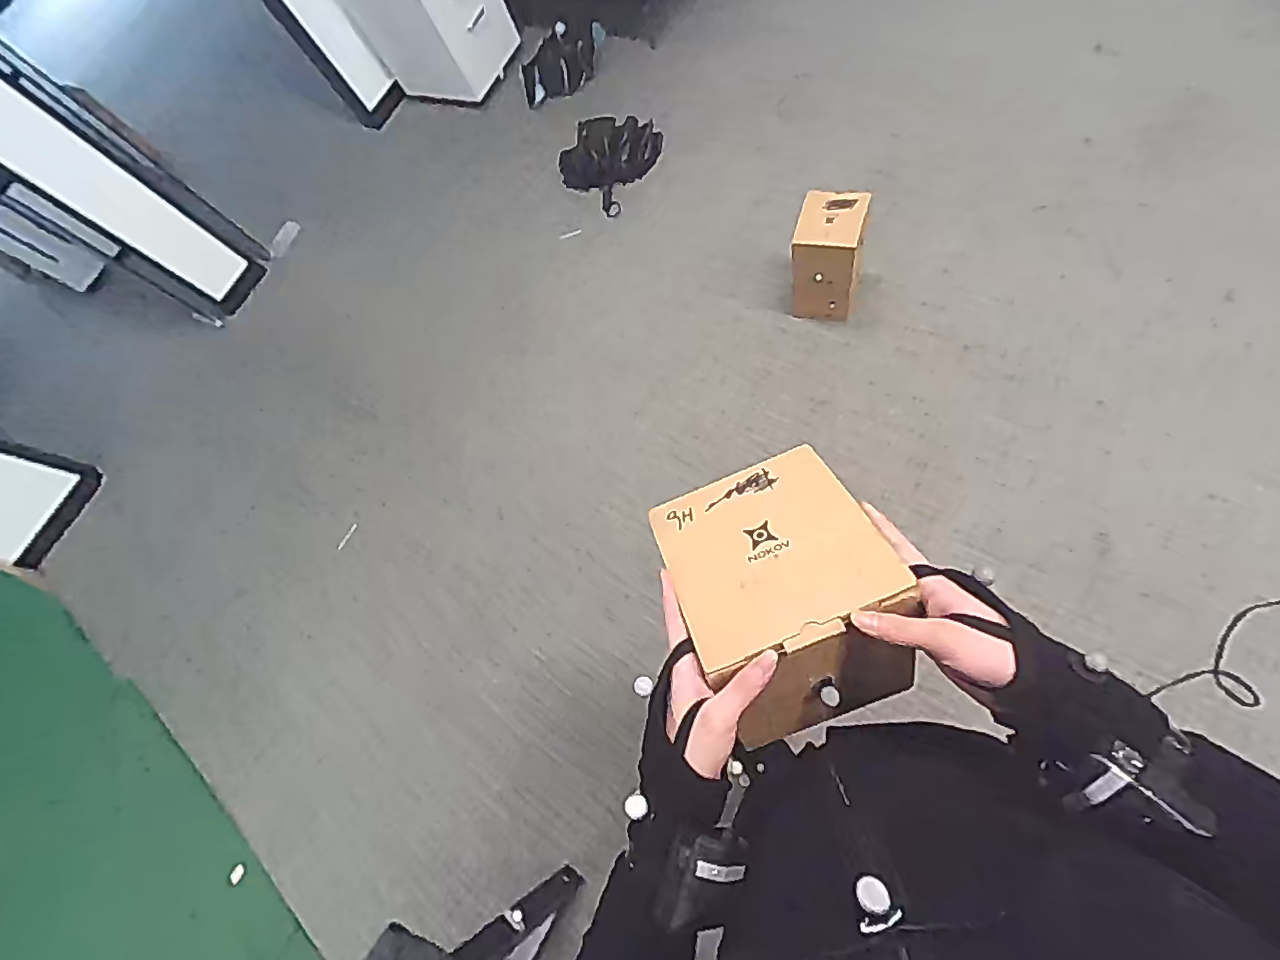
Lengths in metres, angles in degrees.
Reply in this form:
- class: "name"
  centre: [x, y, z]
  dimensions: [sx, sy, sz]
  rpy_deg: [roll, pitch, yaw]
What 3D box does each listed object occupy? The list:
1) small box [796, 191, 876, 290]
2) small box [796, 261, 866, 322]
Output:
- class: "small box"
  centre: [0.529, -0.648, 1.467]
  dimensions: [0.168, 0.176, 0.179]
  rpy_deg: [14, 77, 23]
- class: "small box"
  centre: [0.575, -0.597, 1.617]
  dimensions: [0.168, 0.176, 0.179]
  rpy_deg: [13, 74, 22]
